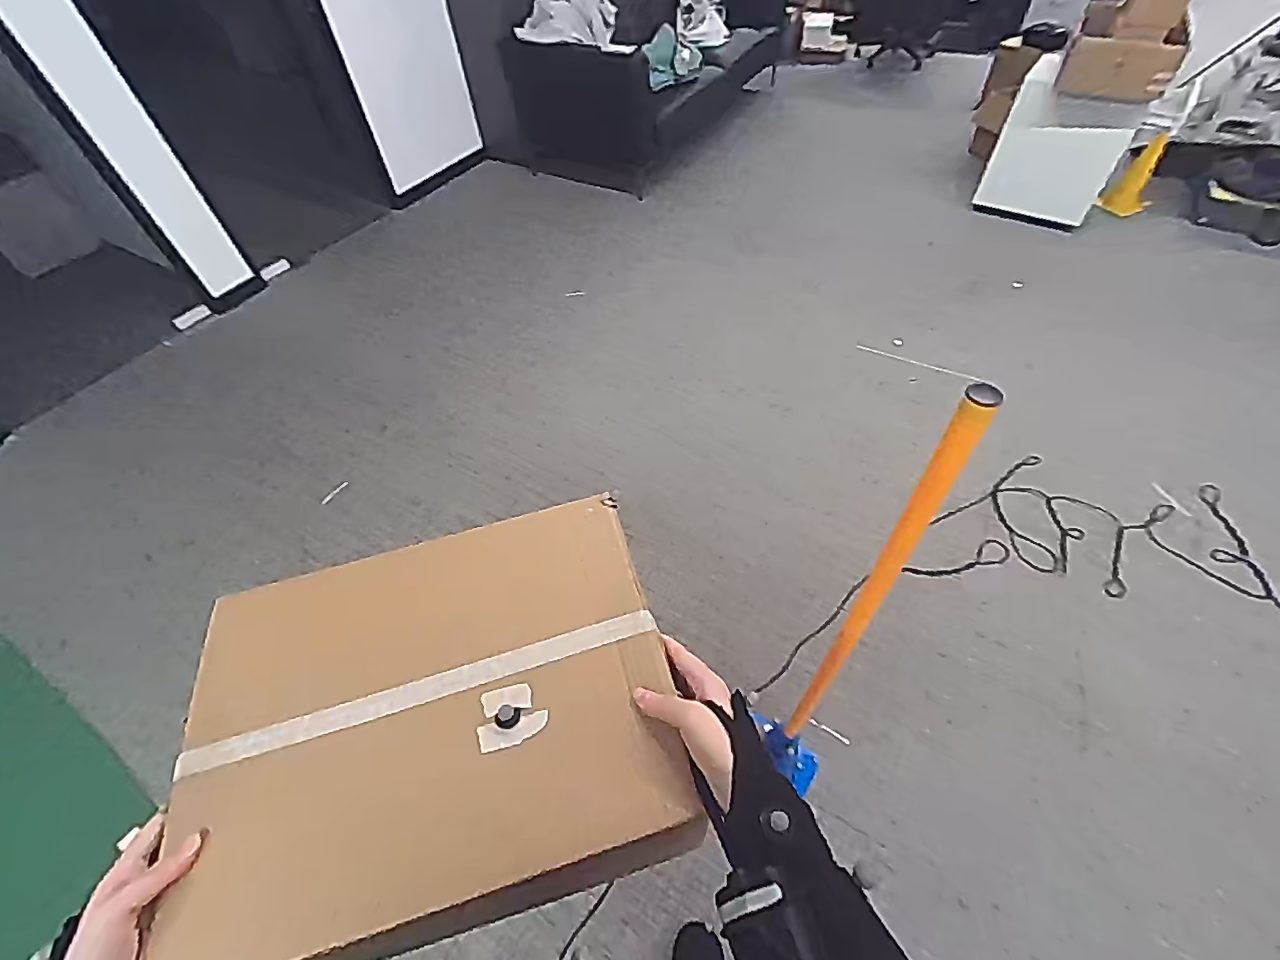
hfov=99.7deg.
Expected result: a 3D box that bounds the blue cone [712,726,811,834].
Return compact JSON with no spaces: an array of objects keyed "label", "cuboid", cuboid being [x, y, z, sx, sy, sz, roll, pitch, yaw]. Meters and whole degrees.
[{"label":"blue cone","cuboid":[0.286,0.613,1.177,0.193,0.380,0.192,32,60,26]}]

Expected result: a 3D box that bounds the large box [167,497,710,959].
[{"label":"large box","cuboid":[-0.171,0.275,0.597,0.408,0.320,0.320,-15,53,-9]}]
